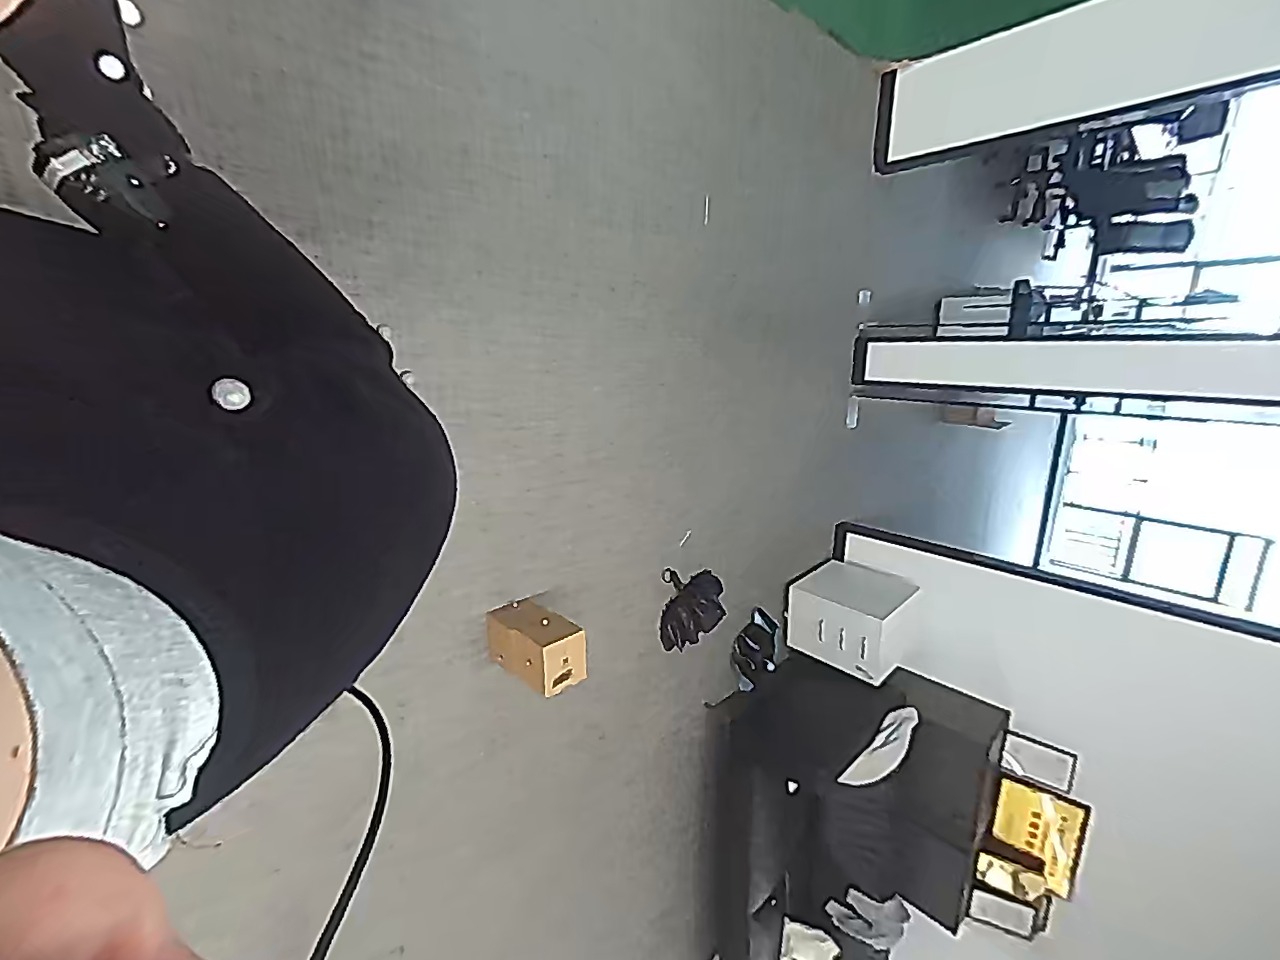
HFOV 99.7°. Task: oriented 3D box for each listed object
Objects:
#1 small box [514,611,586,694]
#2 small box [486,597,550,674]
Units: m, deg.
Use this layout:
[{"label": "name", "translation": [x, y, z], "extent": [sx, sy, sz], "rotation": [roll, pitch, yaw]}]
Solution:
[{"label": "small box", "translation": [-0.294, 0.555, 1.761], "extent": [0.168, 0.176, 0.179], "rotation": [-14, 109, -43]}, {"label": "small box", "translation": [-0.415, 0.532, 1.870], "extent": [0.168, 0.176, 0.179], "rotation": [-16, 110, -43]}]
